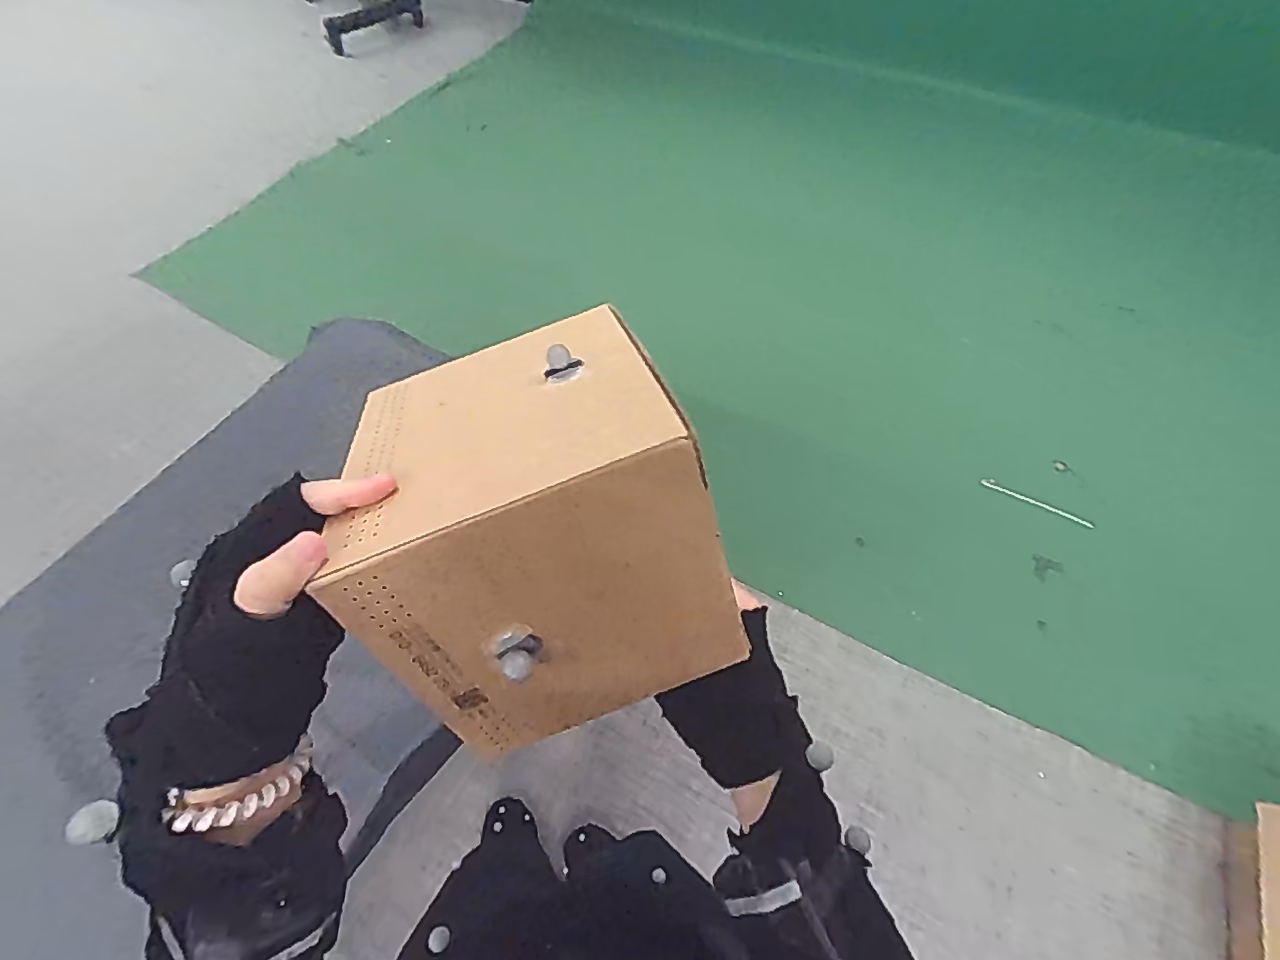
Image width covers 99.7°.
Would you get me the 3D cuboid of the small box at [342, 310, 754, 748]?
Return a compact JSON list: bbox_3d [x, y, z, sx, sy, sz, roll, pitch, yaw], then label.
[{"bbox_3d":[-0.050,0.022,0.330,0.176,0.168,0.179,-20,38,-3],"label":"small box"}]
